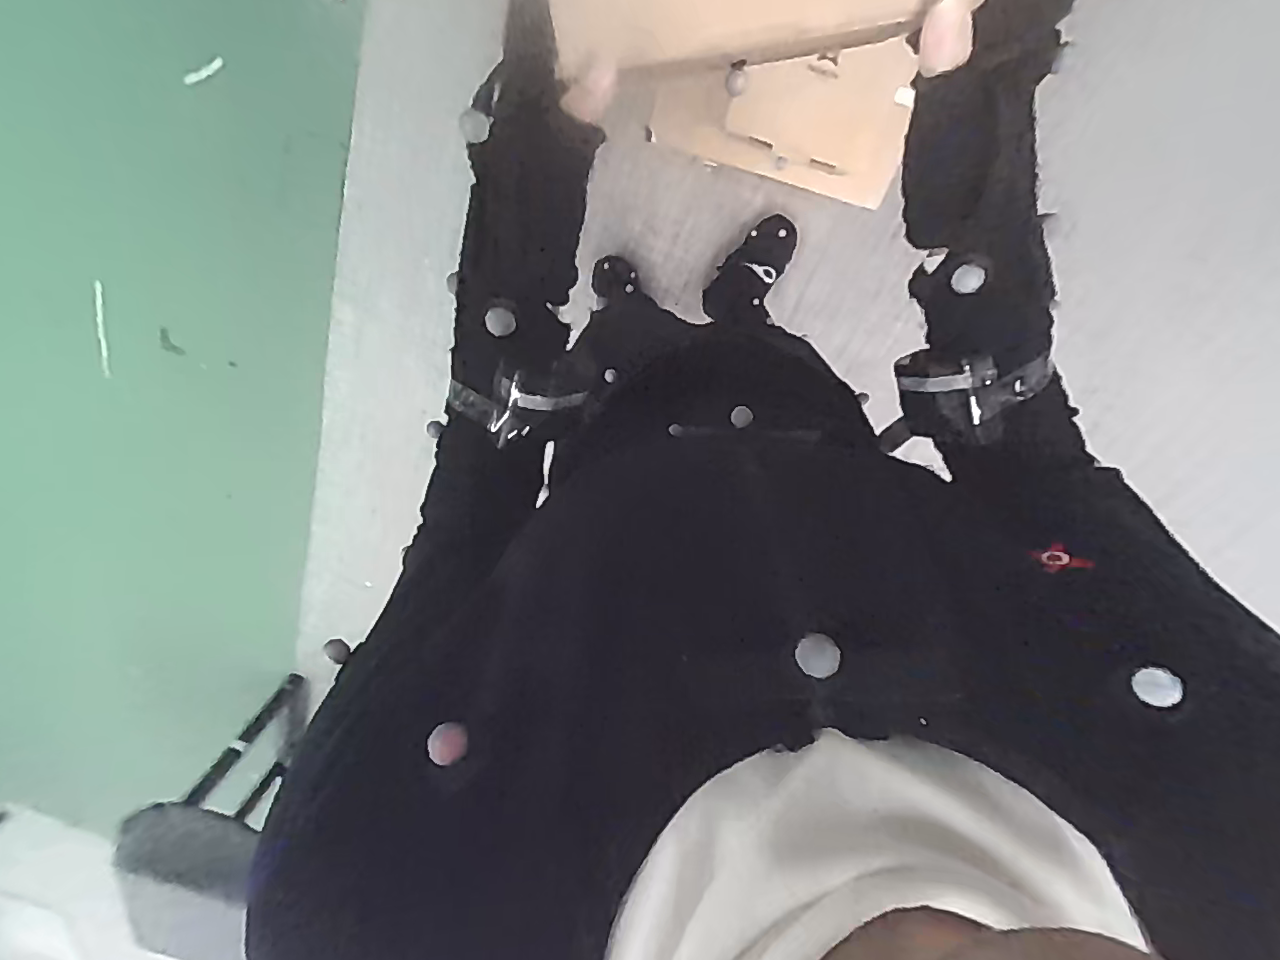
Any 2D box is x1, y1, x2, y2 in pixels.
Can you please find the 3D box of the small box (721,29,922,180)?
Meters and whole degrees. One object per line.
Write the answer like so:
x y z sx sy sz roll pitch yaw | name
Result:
0.206 -0.480 0.643 0.168 0.176 0.179 19 121 -1 | small box

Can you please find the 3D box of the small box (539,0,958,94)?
0.043 -0.298 0.256 0.179 0.176 0.168 -3 124 11 | small box
